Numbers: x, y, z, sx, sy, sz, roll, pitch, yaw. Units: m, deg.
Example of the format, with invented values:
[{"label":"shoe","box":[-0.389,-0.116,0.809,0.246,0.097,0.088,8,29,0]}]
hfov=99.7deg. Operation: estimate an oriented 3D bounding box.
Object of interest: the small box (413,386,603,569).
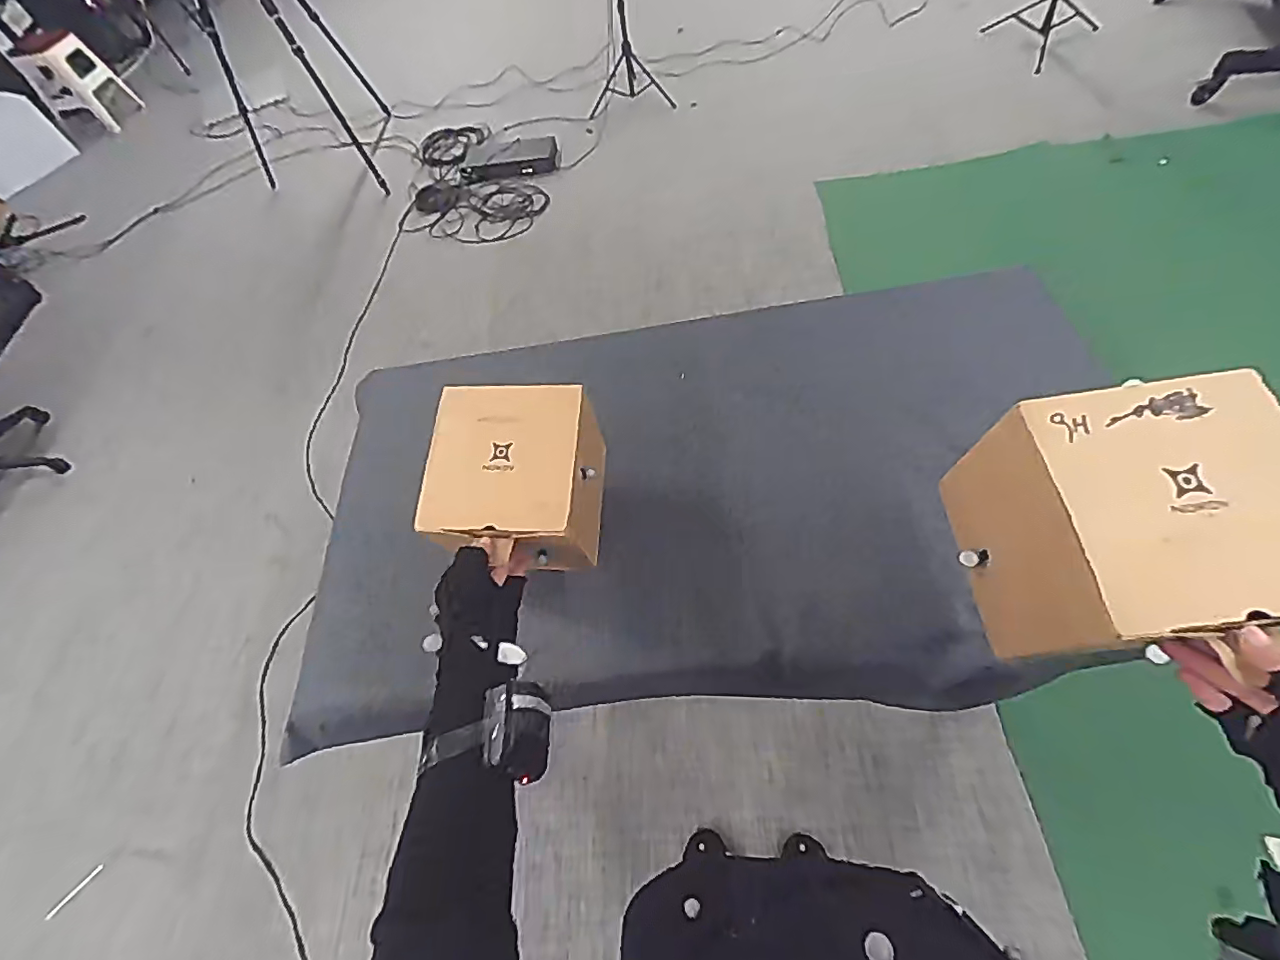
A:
[{"label":"small box","box":[-0.142,0.005,0.649,0.168,0.176,0.179,1,67,6]}]
